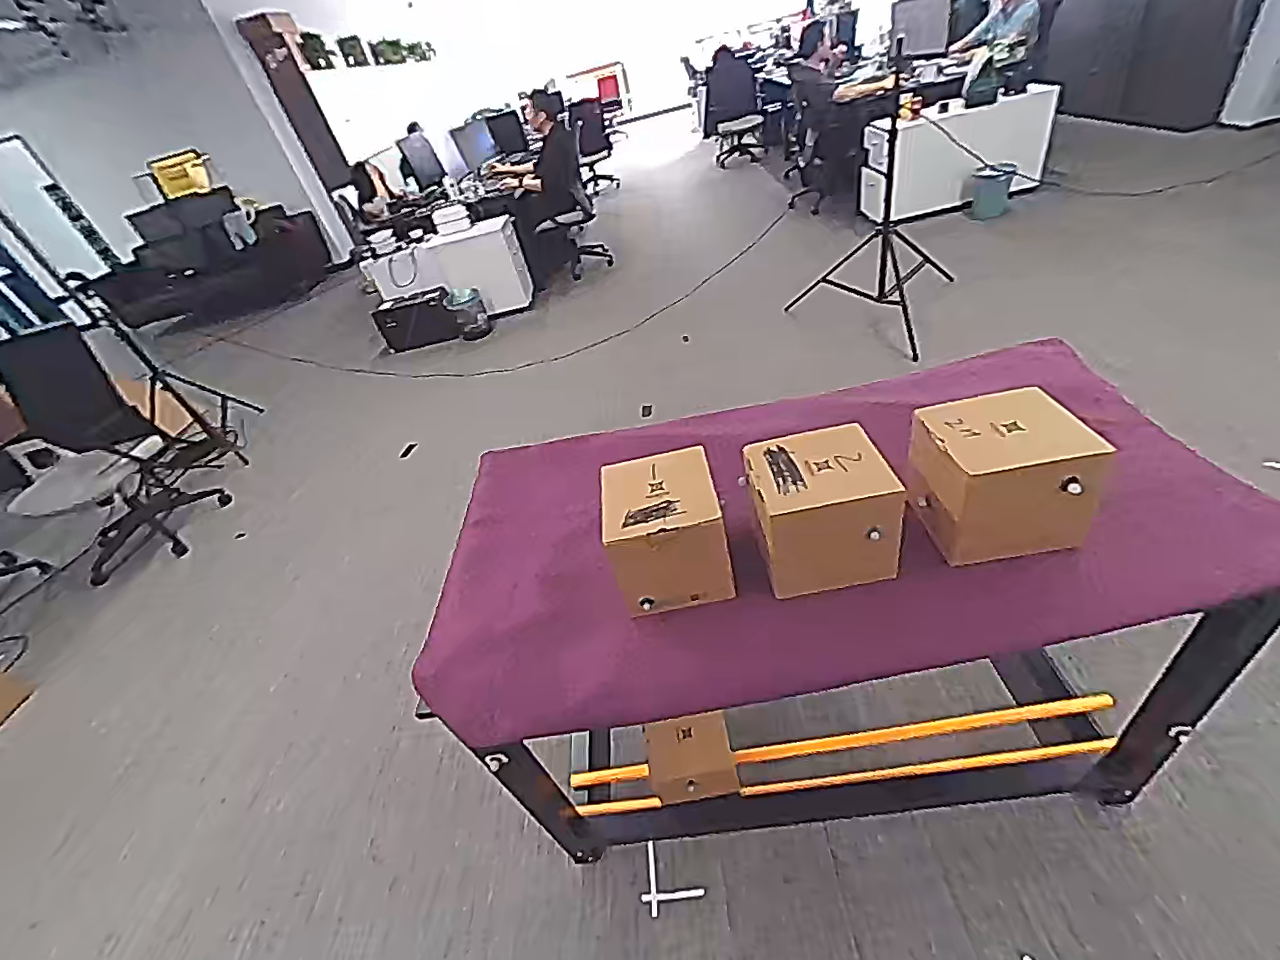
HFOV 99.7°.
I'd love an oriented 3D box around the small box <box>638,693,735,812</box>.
[{"bbox_3d":[0.104,0.596,1.179,0.179,0.176,0.168,-14,40,3],"label":"small box"}]
